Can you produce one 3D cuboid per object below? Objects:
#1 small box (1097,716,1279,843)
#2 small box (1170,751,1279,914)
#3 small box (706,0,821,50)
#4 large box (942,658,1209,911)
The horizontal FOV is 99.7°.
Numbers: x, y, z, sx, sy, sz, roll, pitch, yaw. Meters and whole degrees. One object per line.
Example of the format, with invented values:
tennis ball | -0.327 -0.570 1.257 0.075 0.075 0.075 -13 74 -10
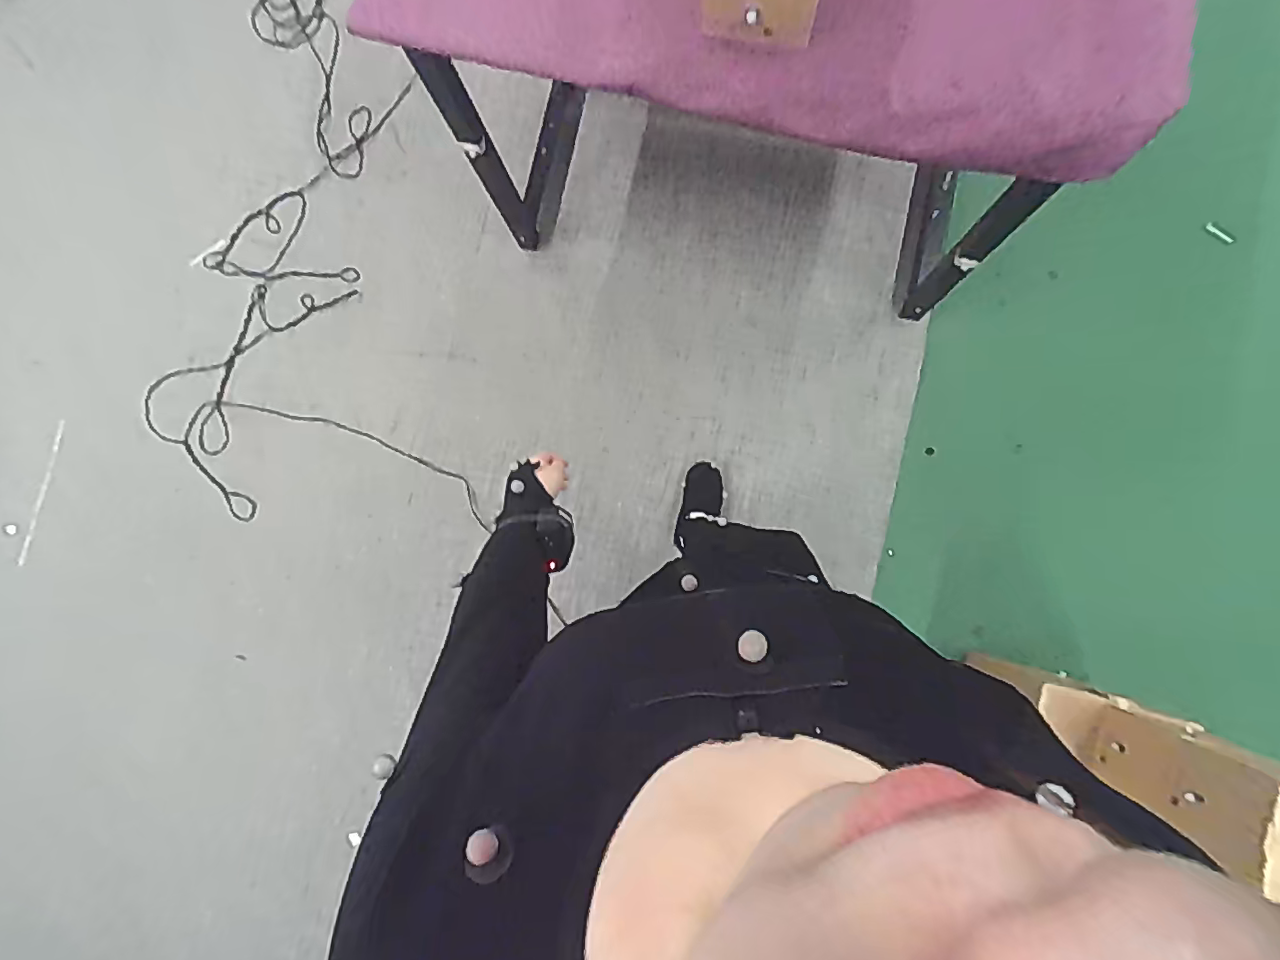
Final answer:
small box | 0.989 0.550 0.972 0.179 0.176 0.168 15 86 7
small box | 0.970 0.536 0.808 0.179 0.176 0.168 14 86 7
small box | 0.191 -0.767 0.762 0.168 0.176 0.179 14 86 7
large box | 0.936 0.664 1.209 0.320 0.320 0.408 15 86 7
